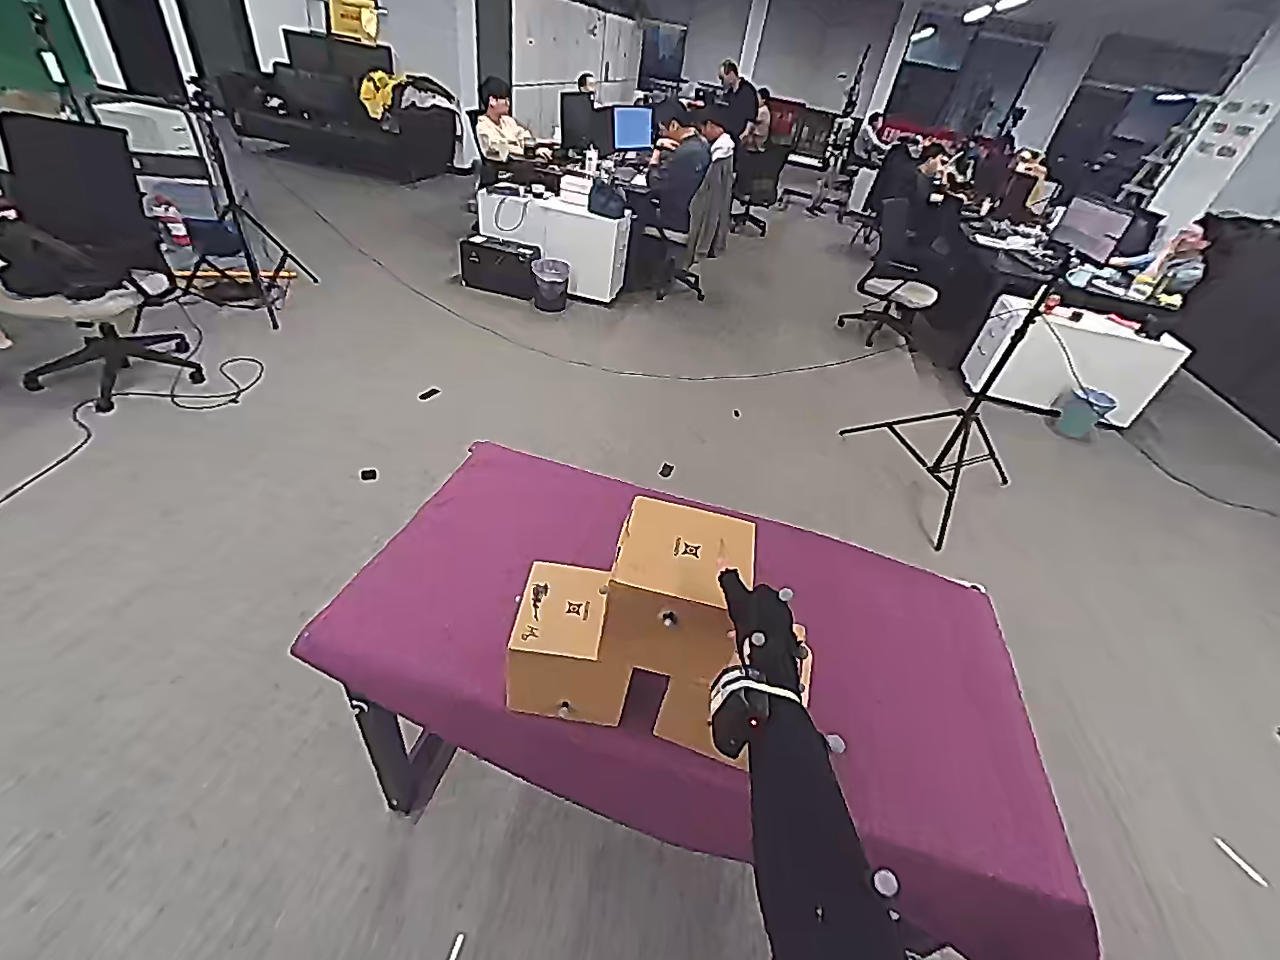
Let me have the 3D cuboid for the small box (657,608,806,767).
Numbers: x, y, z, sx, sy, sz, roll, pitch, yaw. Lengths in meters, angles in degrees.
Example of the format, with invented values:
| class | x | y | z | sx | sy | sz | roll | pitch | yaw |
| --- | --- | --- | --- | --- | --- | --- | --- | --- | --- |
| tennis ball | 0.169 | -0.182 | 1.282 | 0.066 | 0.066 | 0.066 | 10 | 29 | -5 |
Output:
| class | x | y | z | sx | sy | sz | roll | pitch | yaw |
| --- | --- | --- | --- | --- | --- | --- | --- | --- | --- |
| small box | 0.139 | 0.311 | 0.837 | 0.179 | 0.176 | 0.168 | 17 | 38 | 10 |

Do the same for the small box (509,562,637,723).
| class | x | y | z | sx | sy | sz | roll | pitch | yaw |
| --- | --- | --- | --- | --- | --- | --- | --- | --- | --- |
| small box | -0.099 | 0.258 | 0.852 | 0.179 | 0.176 | 0.168 | 10 | 37 | -3 |

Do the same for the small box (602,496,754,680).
| class | x | y | z | sx | sy | sz | roll | pitch | yaw |
| --- | --- | --- | --- | --- | --- | --- | --- | --- | --- |
| small box | 0.051 | 0.152 | 0.754 | 0.179 | 0.176 | 0.168 | 13 | 39 | 3 |
